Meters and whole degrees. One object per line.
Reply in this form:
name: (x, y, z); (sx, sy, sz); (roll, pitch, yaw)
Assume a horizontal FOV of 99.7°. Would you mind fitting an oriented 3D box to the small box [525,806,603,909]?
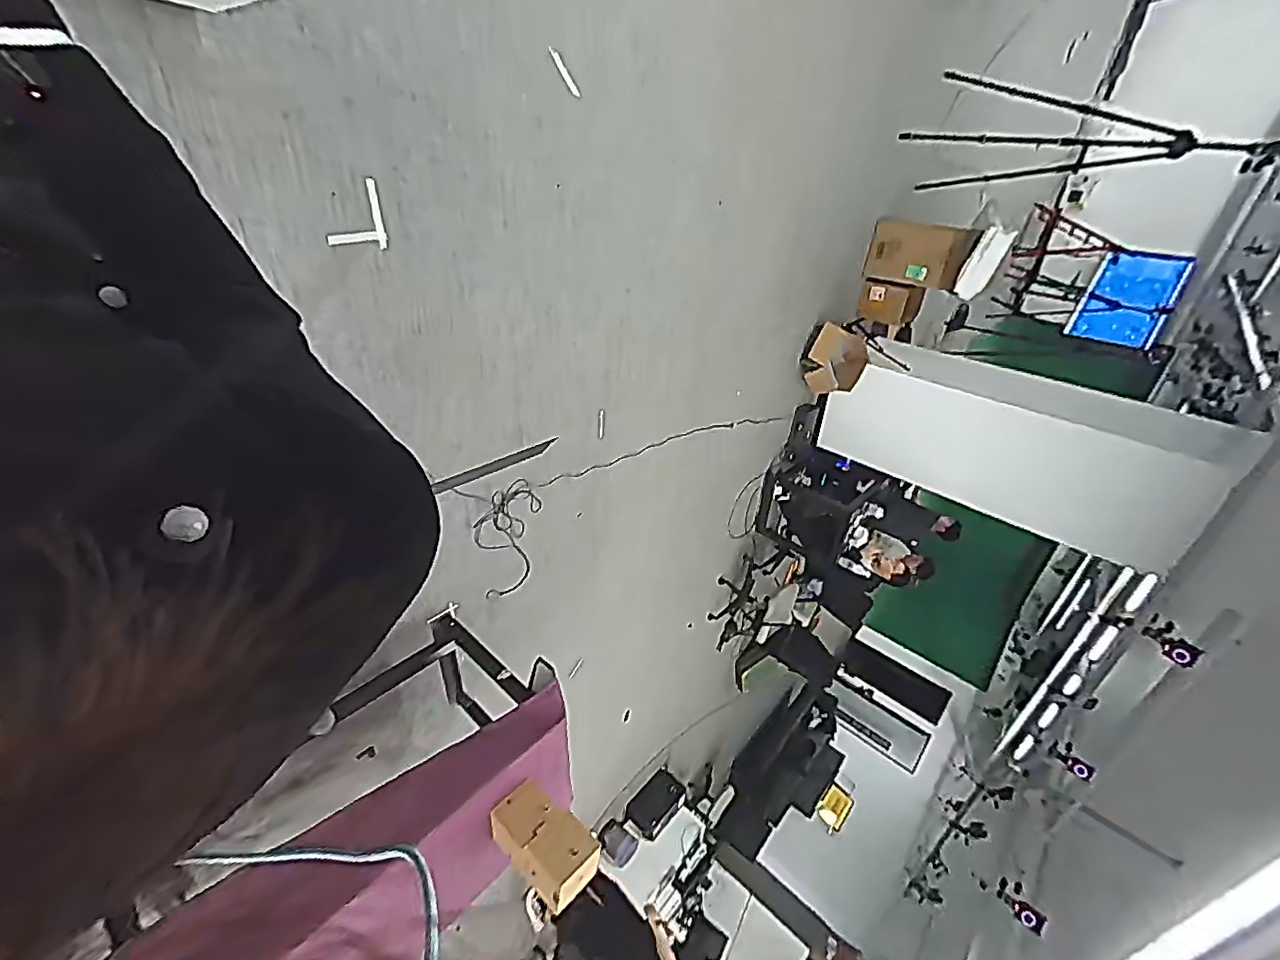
small box: (-0.246, 1.206, 1.742); (0.179, 0.176, 0.168); (-21, 129, -46)
